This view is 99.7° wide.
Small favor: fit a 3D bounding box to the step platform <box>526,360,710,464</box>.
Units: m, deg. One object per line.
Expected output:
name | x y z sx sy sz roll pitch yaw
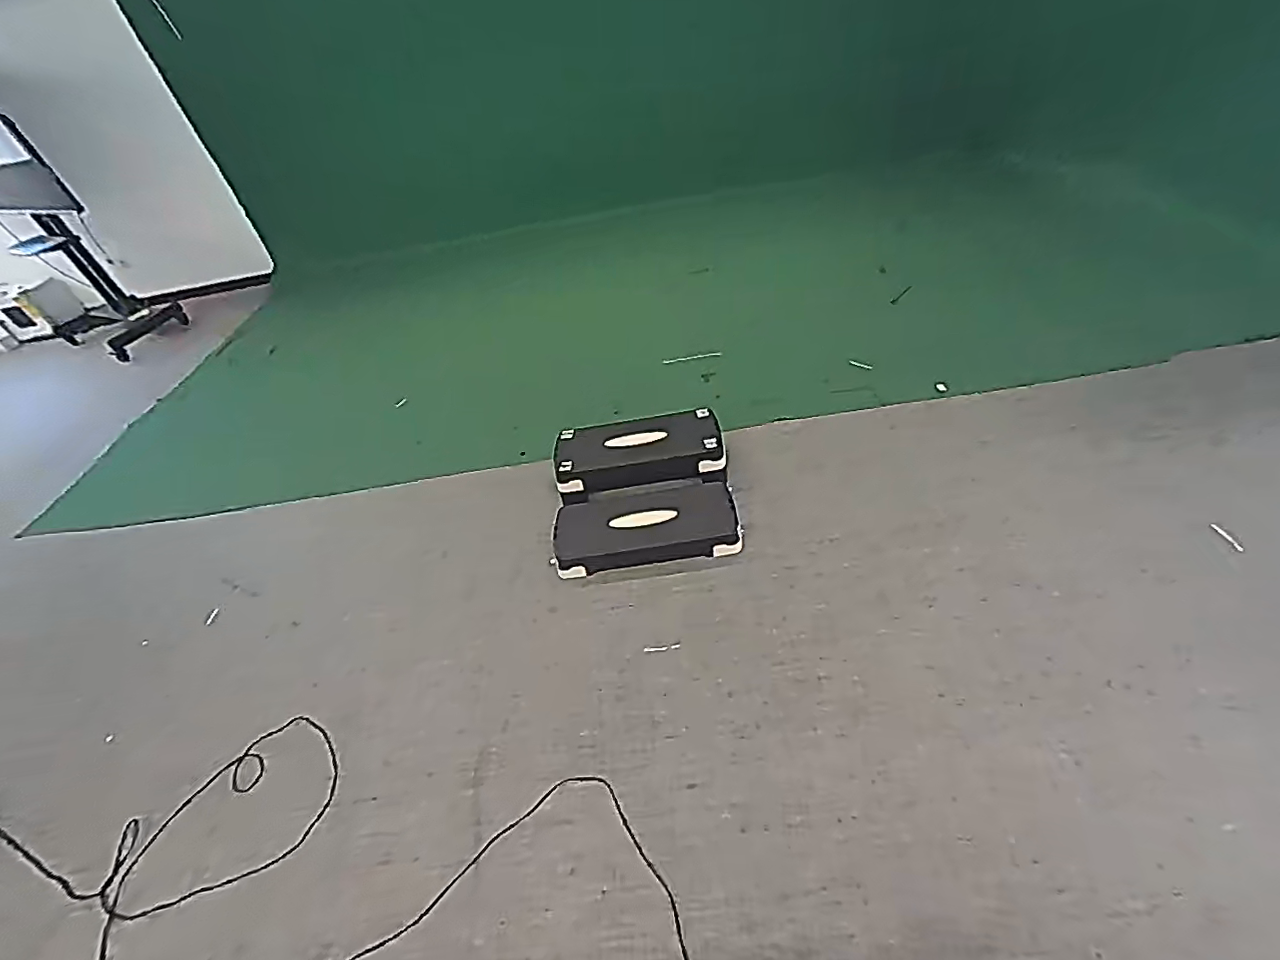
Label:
step platform | -0.076 -0.258 2.066 0.684 0.204 0.286 -9 43 4
